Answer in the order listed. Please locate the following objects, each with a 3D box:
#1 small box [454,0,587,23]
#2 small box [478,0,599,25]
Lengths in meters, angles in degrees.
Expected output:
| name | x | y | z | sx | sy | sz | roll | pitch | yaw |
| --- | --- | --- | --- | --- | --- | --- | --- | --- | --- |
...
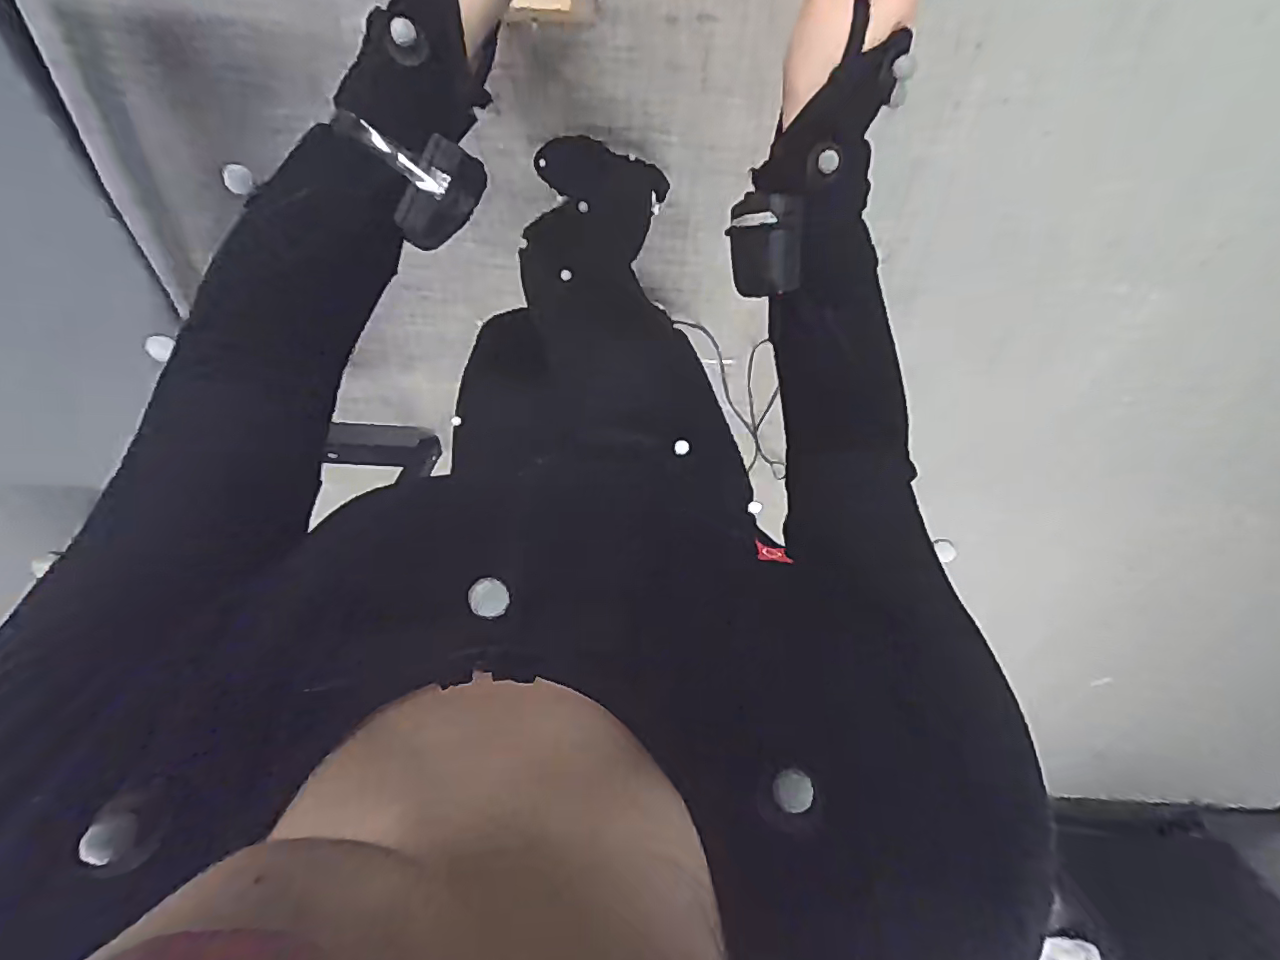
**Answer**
| name | x | y | z | sx | sy | sz | roll | pitch | yaw |
| --- | --- | --- | --- | --- | --- | --- | --- | --- | --- |
| small box | -0.156 | -0.724 | 0.707 | 0.168 | 0.176 | 0.179 | 3 | 127 | -2 |
| small box | -0.155 | -0.822 | 0.840 | 0.179 | 0.176 | 0.168 | 2 | 128 | 1 |
